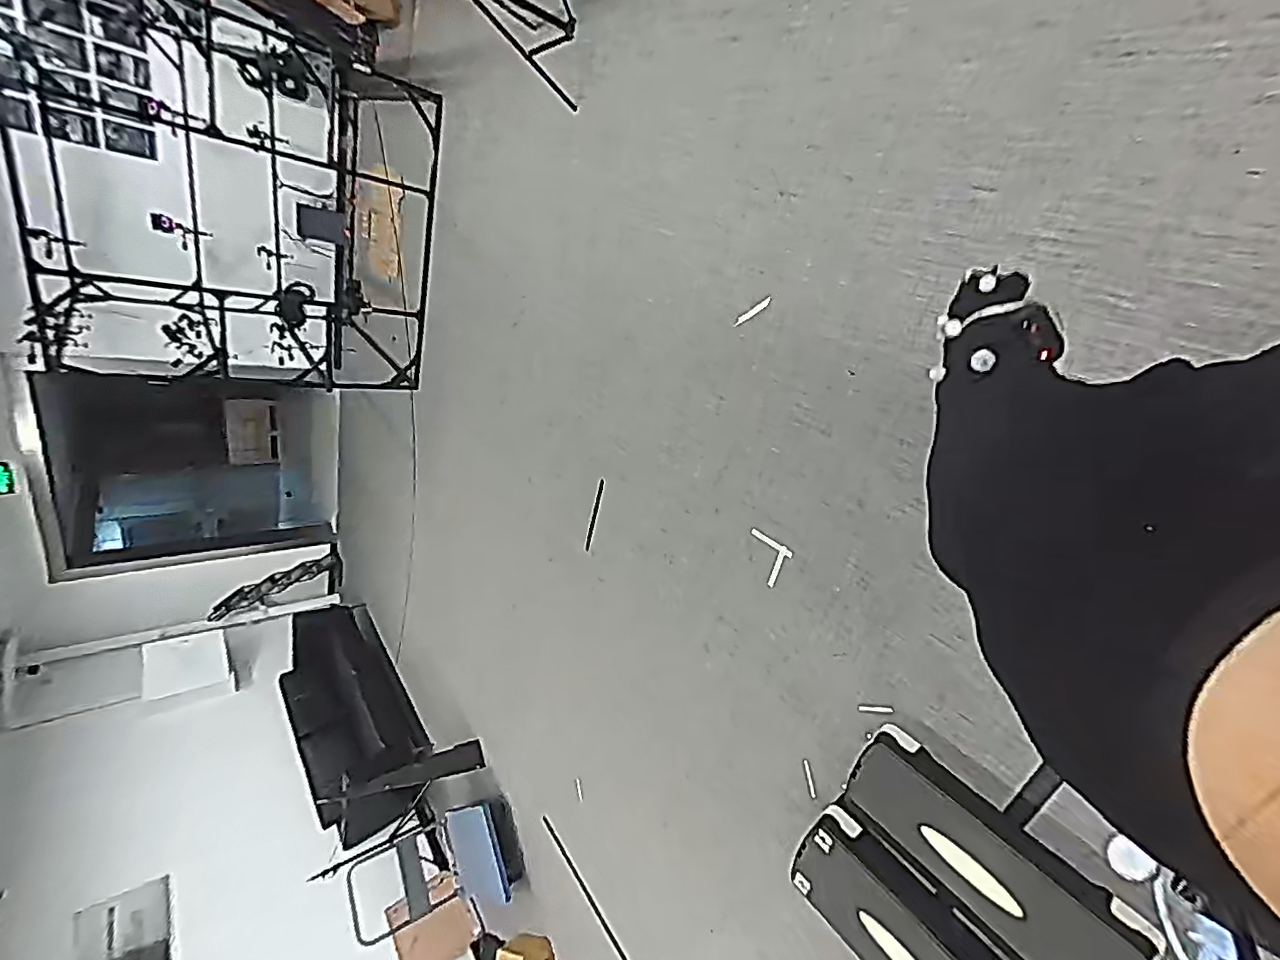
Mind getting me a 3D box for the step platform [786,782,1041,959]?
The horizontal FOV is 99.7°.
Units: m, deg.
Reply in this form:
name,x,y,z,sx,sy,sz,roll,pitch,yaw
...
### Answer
name,x,y,z,sx,sy,sz,roll,pitch,yaw
step platform,0.739,1.217,1.496,0.684,0.204,0.286,35,120,43
